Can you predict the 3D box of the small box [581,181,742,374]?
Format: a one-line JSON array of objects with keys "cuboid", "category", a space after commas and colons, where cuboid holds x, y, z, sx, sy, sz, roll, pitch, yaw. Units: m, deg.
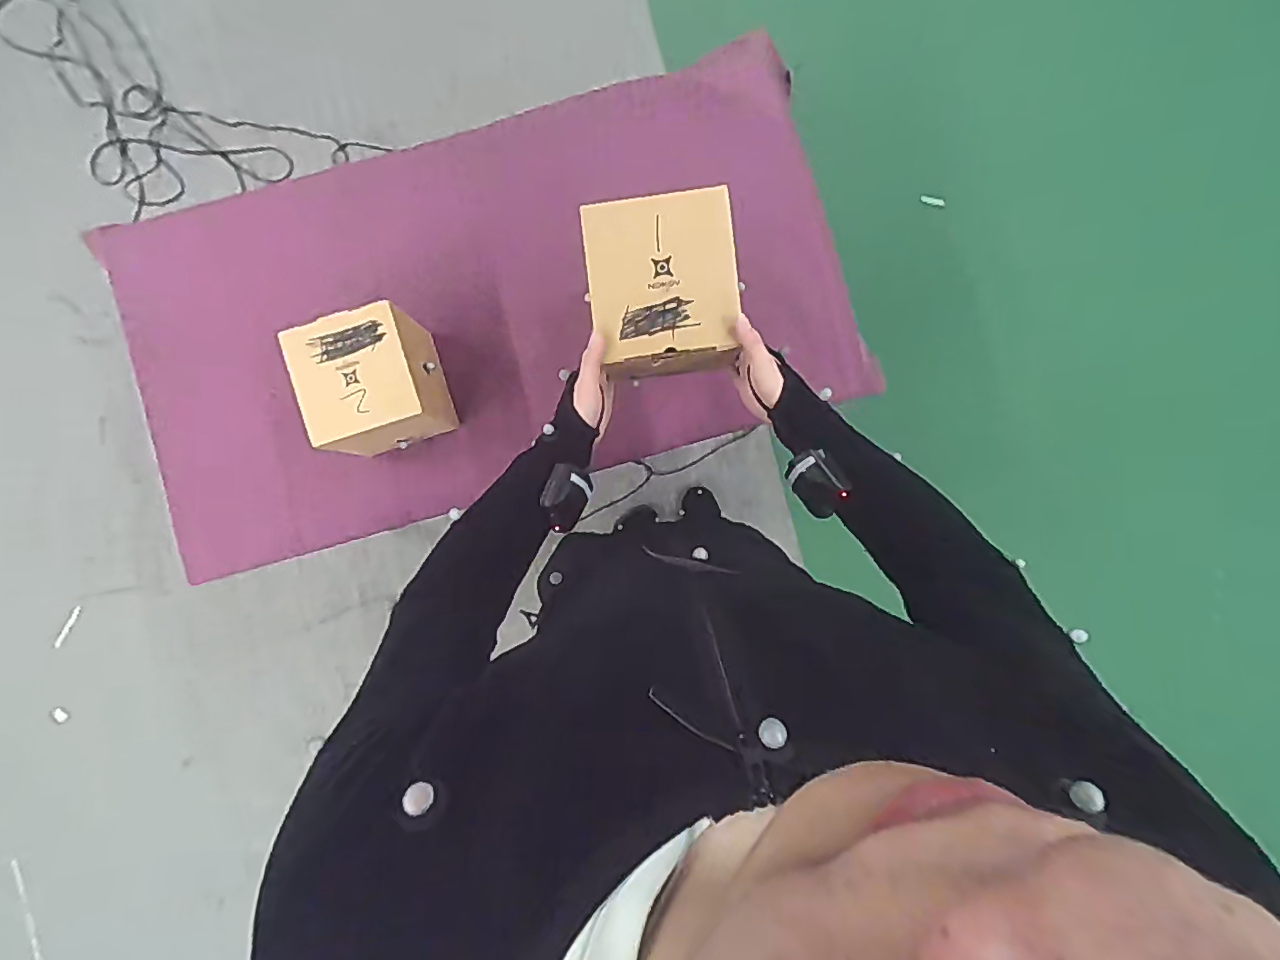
[{"cuboid": [0.030, -0.230, 0.665, 0.168, 0.176, 0.179, -6, 93, 4], "category": "small box"}]
